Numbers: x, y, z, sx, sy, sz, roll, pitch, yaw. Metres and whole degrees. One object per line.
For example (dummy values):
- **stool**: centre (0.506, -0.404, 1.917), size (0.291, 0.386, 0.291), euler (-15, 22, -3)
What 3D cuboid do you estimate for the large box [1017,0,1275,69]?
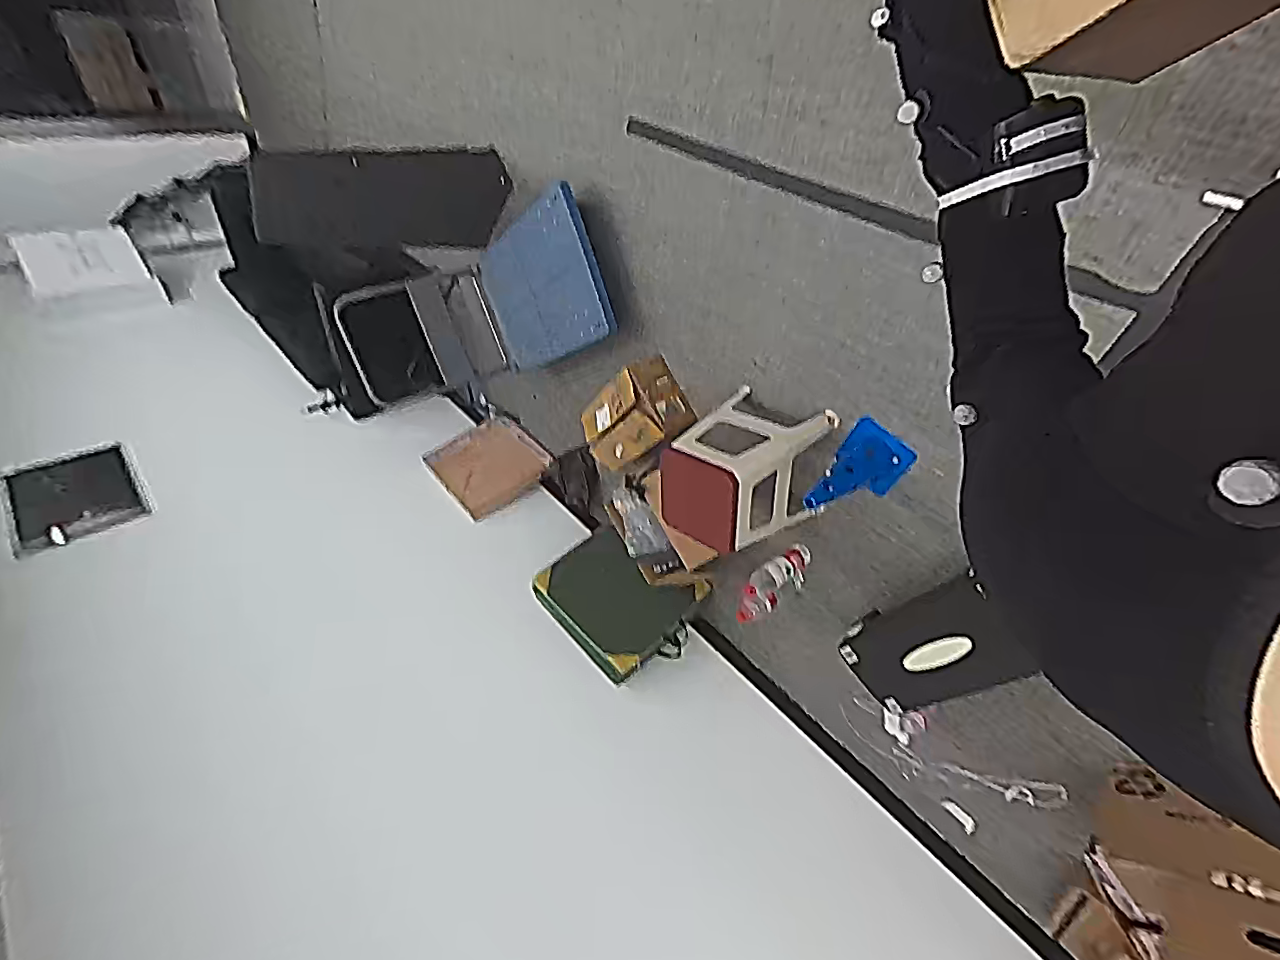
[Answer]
- **large box**: centre (0.423, -0.499, 0.257), size (0.408, 0.320, 0.320), euler (-9, 104, 56)
